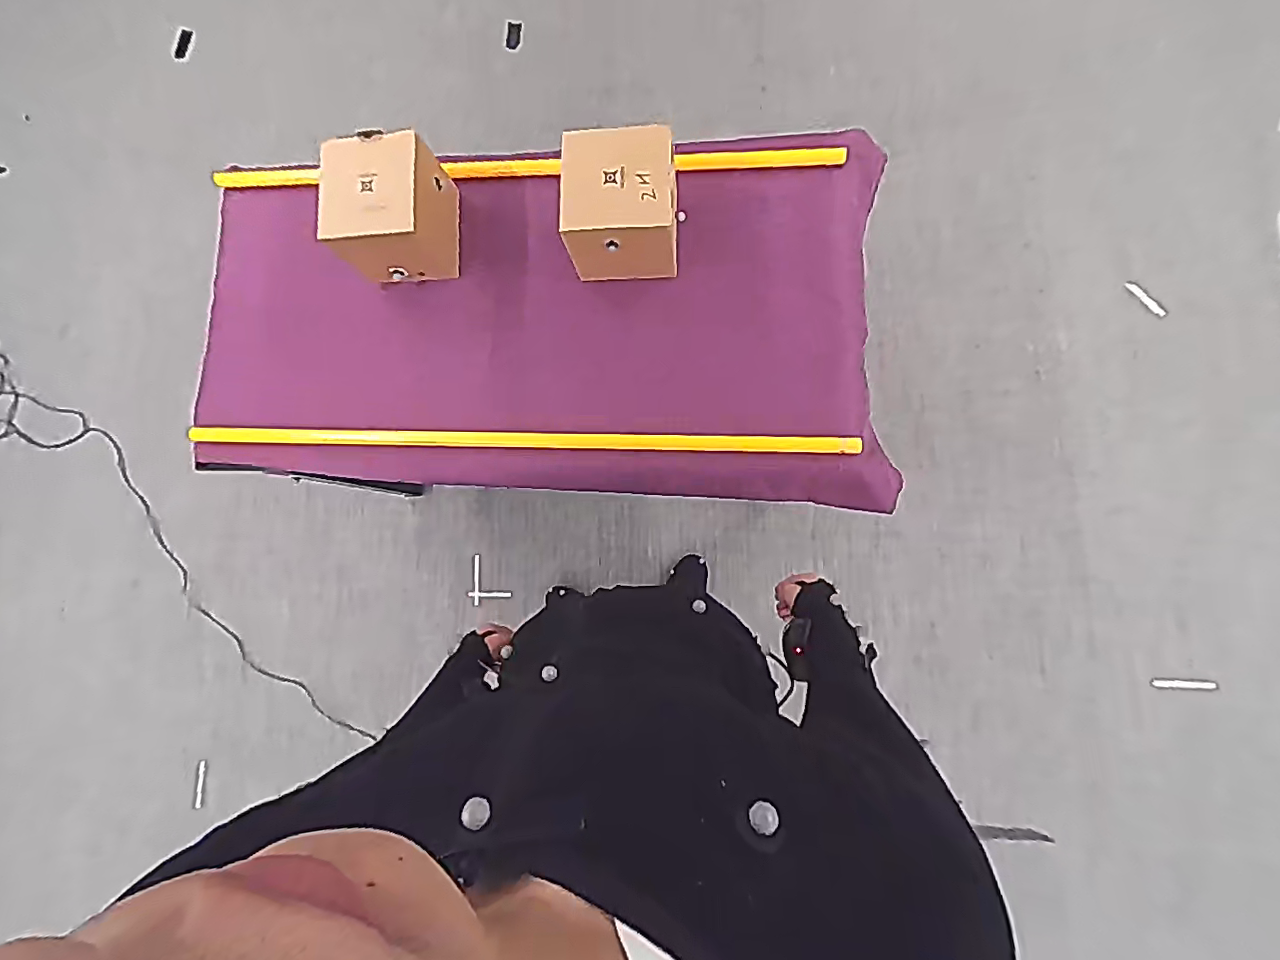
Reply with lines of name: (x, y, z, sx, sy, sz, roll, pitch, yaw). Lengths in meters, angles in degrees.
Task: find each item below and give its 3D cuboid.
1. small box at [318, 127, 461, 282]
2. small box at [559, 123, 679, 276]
small box: (-0.426, -0.470, 0.943, 0.168, 0.176, 0.179, -2, 84, 6)
small box: (-0.027, -0.454, 0.901, 0.179, 0.176, 0.168, 1, 85, 6)
